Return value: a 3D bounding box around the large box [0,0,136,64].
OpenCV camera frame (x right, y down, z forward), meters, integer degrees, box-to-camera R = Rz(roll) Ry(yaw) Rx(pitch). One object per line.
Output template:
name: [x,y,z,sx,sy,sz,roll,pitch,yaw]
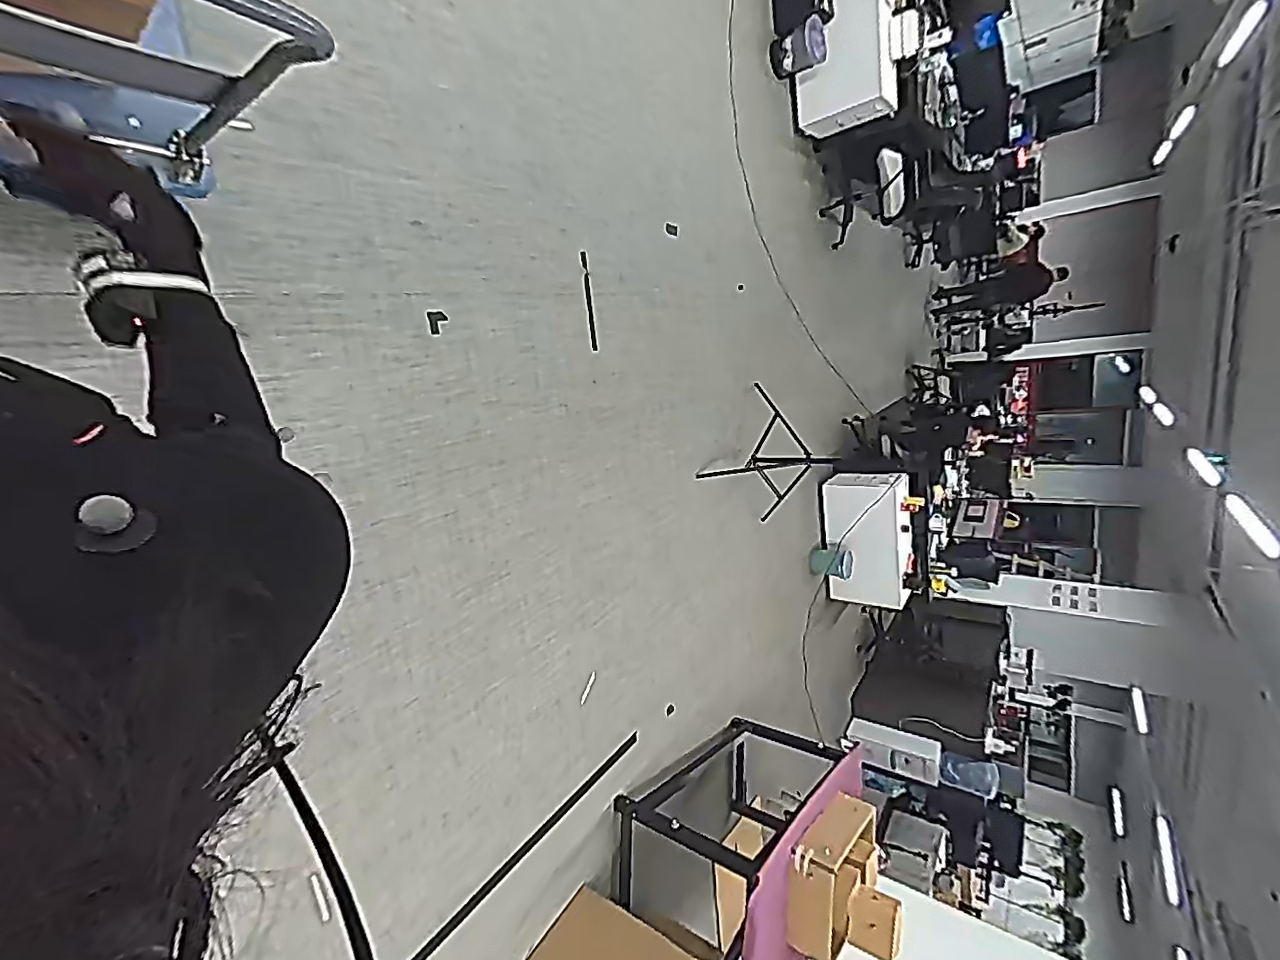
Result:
large box: [-0.999,-0.803,0.702,0.408,0.320,0.320,-38,122,-46]
